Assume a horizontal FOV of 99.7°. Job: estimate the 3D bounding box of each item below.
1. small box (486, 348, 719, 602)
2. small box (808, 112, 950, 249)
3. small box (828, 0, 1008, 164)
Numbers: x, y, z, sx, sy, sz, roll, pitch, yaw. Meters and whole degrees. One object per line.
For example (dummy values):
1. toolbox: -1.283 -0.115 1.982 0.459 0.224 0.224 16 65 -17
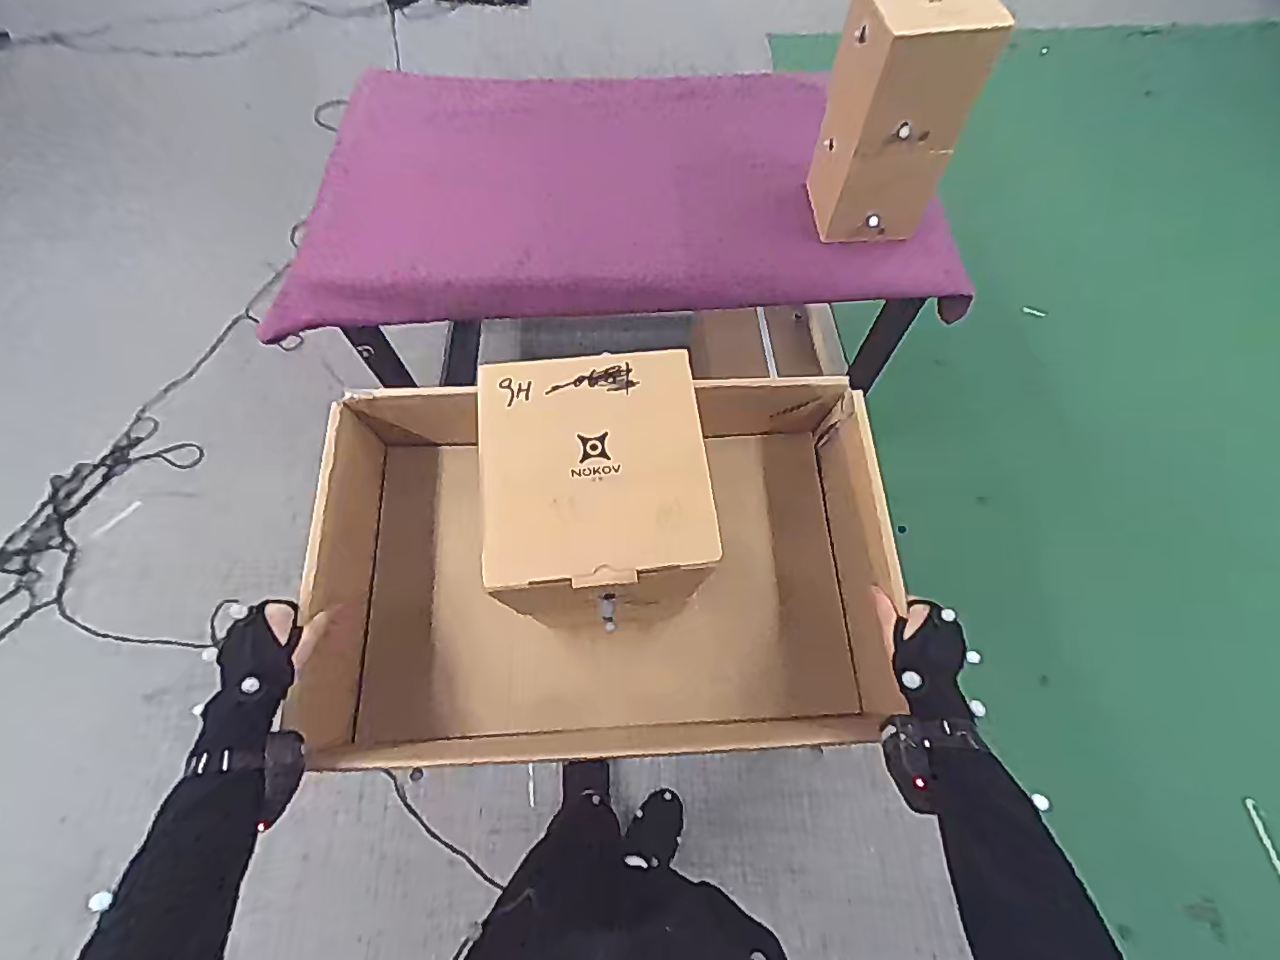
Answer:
1. small box: -0.034 0.009 0.475 0.168 0.176 0.179 -5 70 -5
2. small box: 0.412 -0.542 0.970 0.168 0.176 0.179 -2 63 0
3. small box: 0.404 -0.617 0.825 0.168 0.176 0.179 -5 63 0
